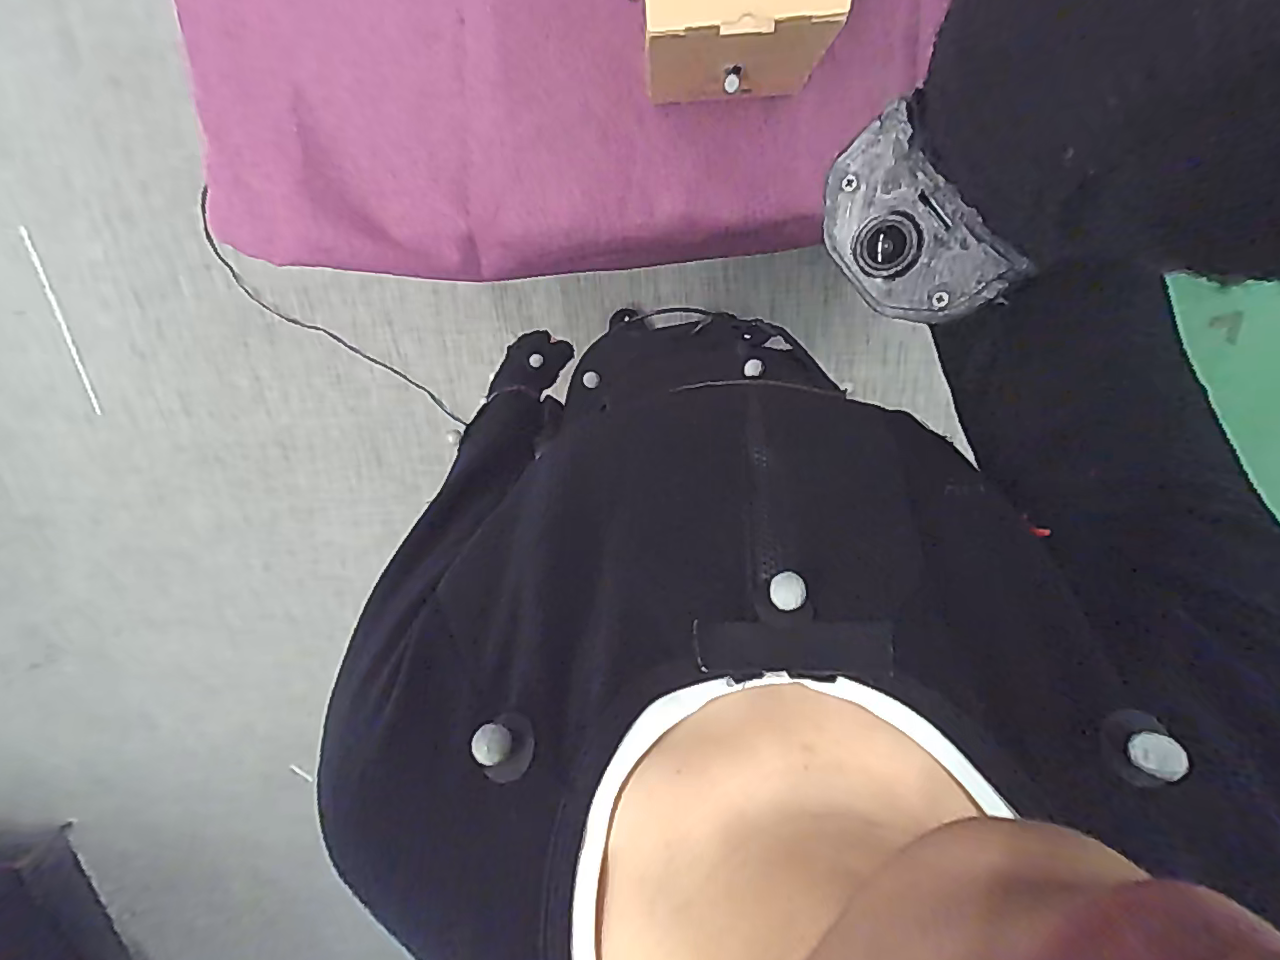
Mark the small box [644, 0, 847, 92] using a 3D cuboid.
[{"bbox_3d":[0.087,-0.478,0.489,0.168,0.176,0.179,-2,109,3],"label":"small box"}]
